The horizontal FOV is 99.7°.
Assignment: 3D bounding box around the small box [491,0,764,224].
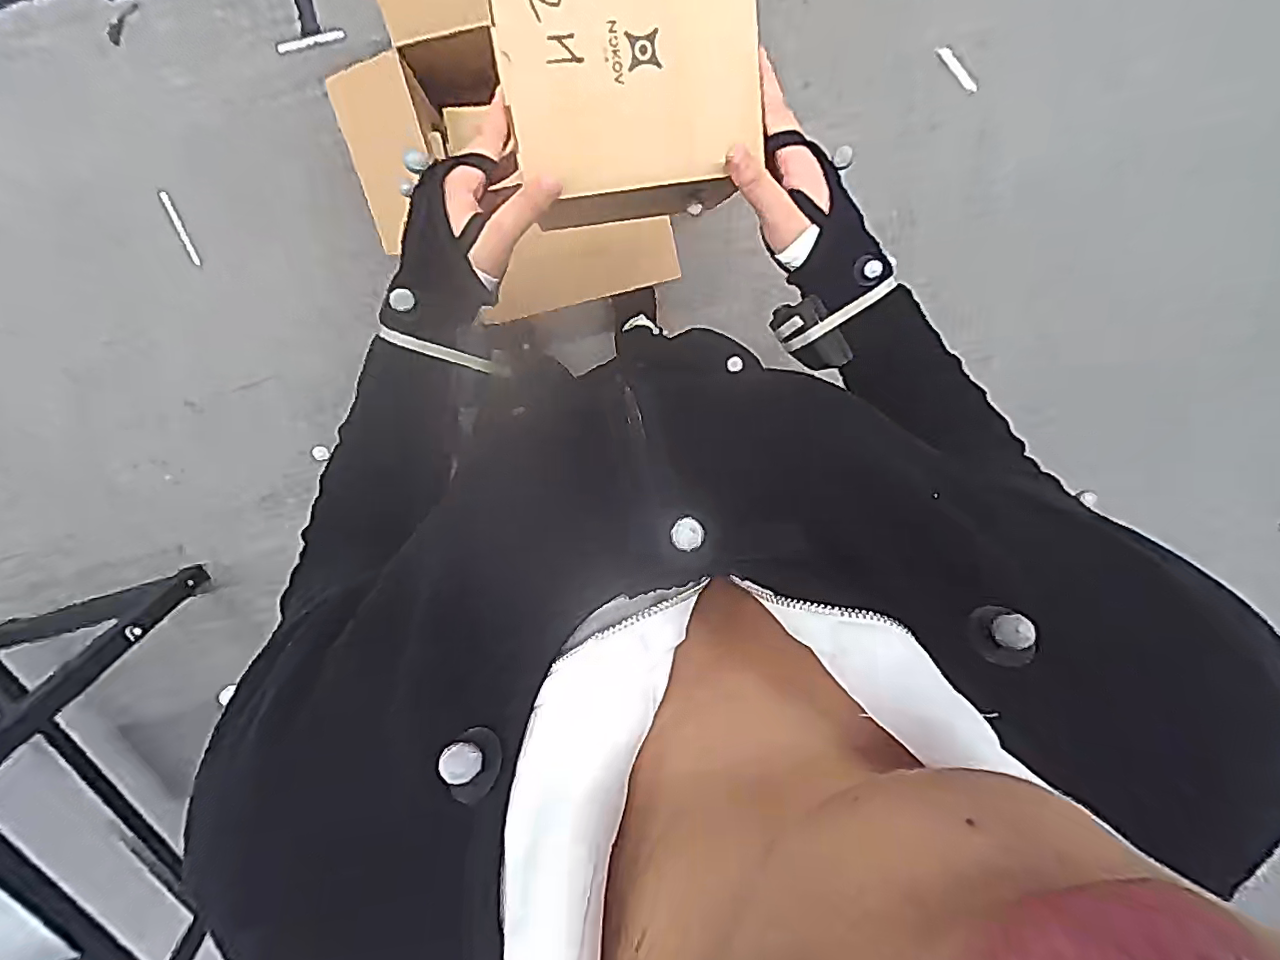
[{"bbox_3d":[-0.013,-0.313,0.435,0.179,0.176,0.168,-9,109,-2],"label":"small box"}]
